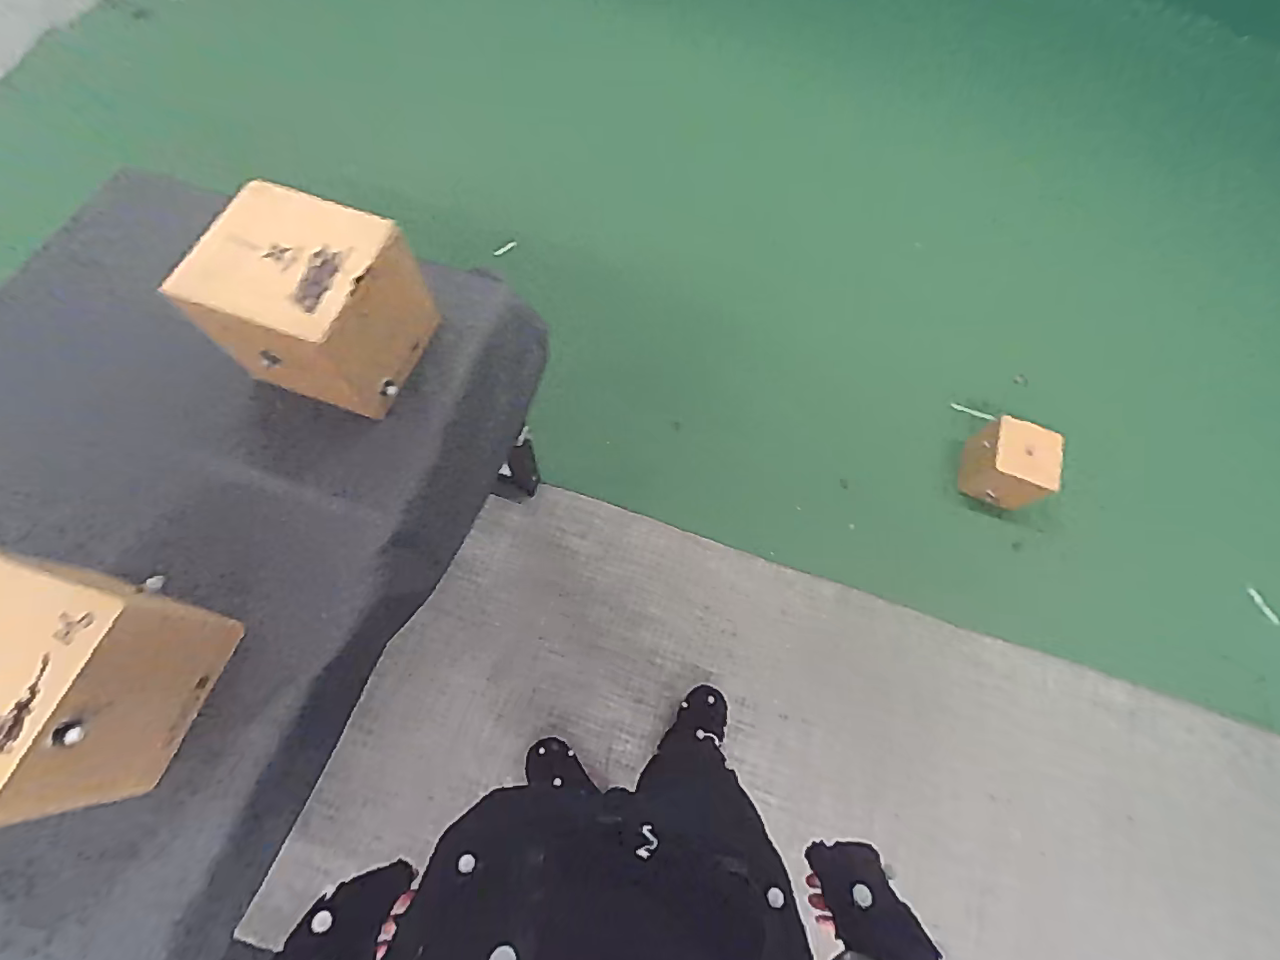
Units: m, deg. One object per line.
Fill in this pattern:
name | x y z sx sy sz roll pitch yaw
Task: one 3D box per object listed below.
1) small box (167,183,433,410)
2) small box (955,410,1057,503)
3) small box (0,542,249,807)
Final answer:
small box | -0.375 -0.204 0.641 0.179 0.176 0.168 18 69 4
small box | 1.005 -0.059 1.494 0.168 0.176 0.179 20 70 4
small box | -0.518 0.169 0.487 0.179 0.176 0.168 17 69 3
